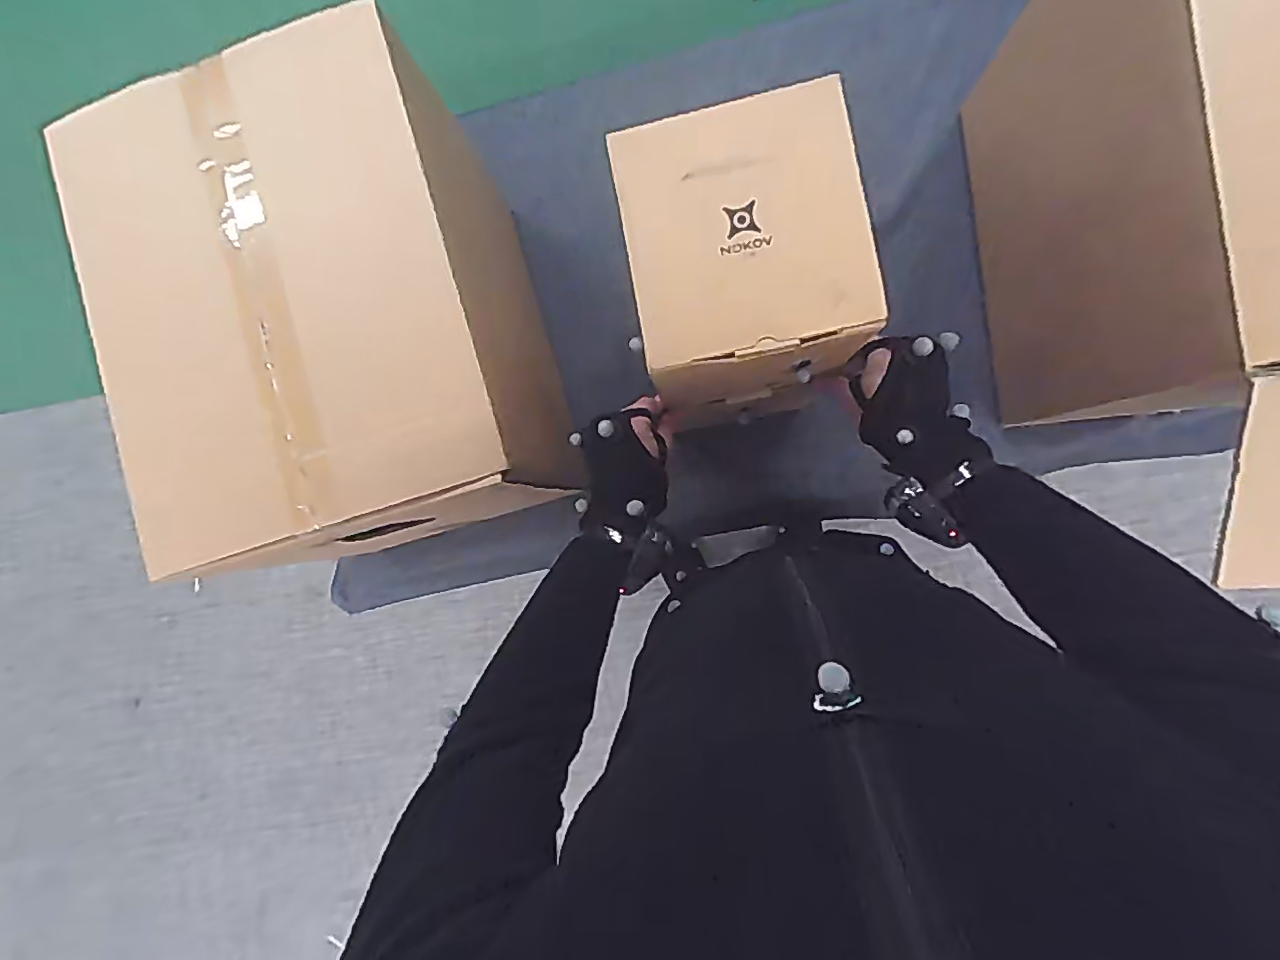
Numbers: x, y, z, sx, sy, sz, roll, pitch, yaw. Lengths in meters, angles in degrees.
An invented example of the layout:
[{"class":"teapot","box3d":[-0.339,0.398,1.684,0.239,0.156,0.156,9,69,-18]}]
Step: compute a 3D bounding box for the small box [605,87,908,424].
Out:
[{"class":"small box","box3d":[0.081,-0.146,0.424,0.168,0.176,0.179,-12,87,6]}]
